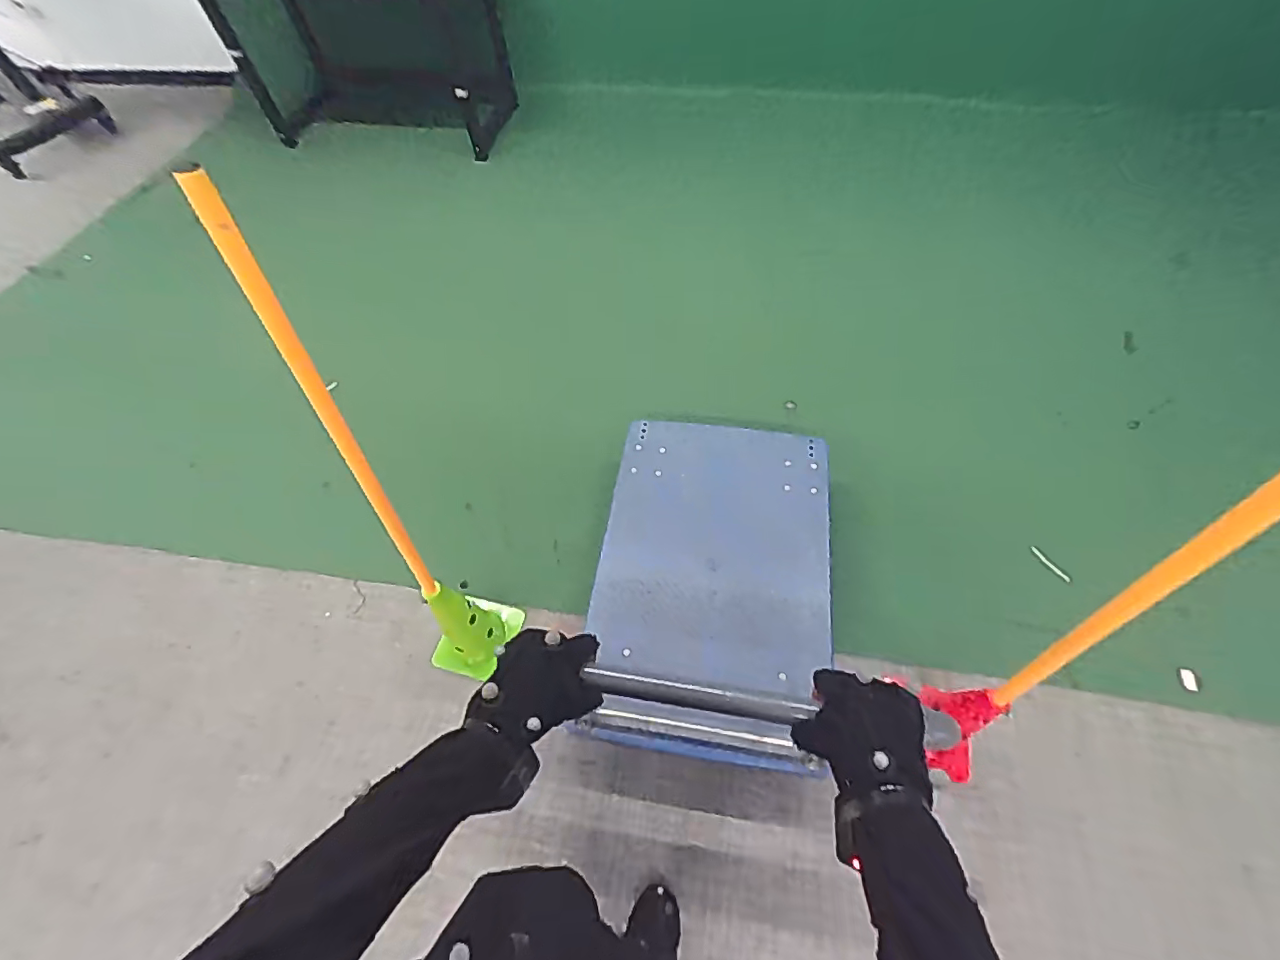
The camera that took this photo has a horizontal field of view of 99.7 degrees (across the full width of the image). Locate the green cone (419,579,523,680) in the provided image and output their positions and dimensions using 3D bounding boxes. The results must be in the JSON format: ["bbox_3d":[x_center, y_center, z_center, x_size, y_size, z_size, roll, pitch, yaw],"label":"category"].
[{"bbox_3d":[-0.445,0.328,1.322,0.202,0.368,0.200,11,58,11],"label":"green cone"}]
